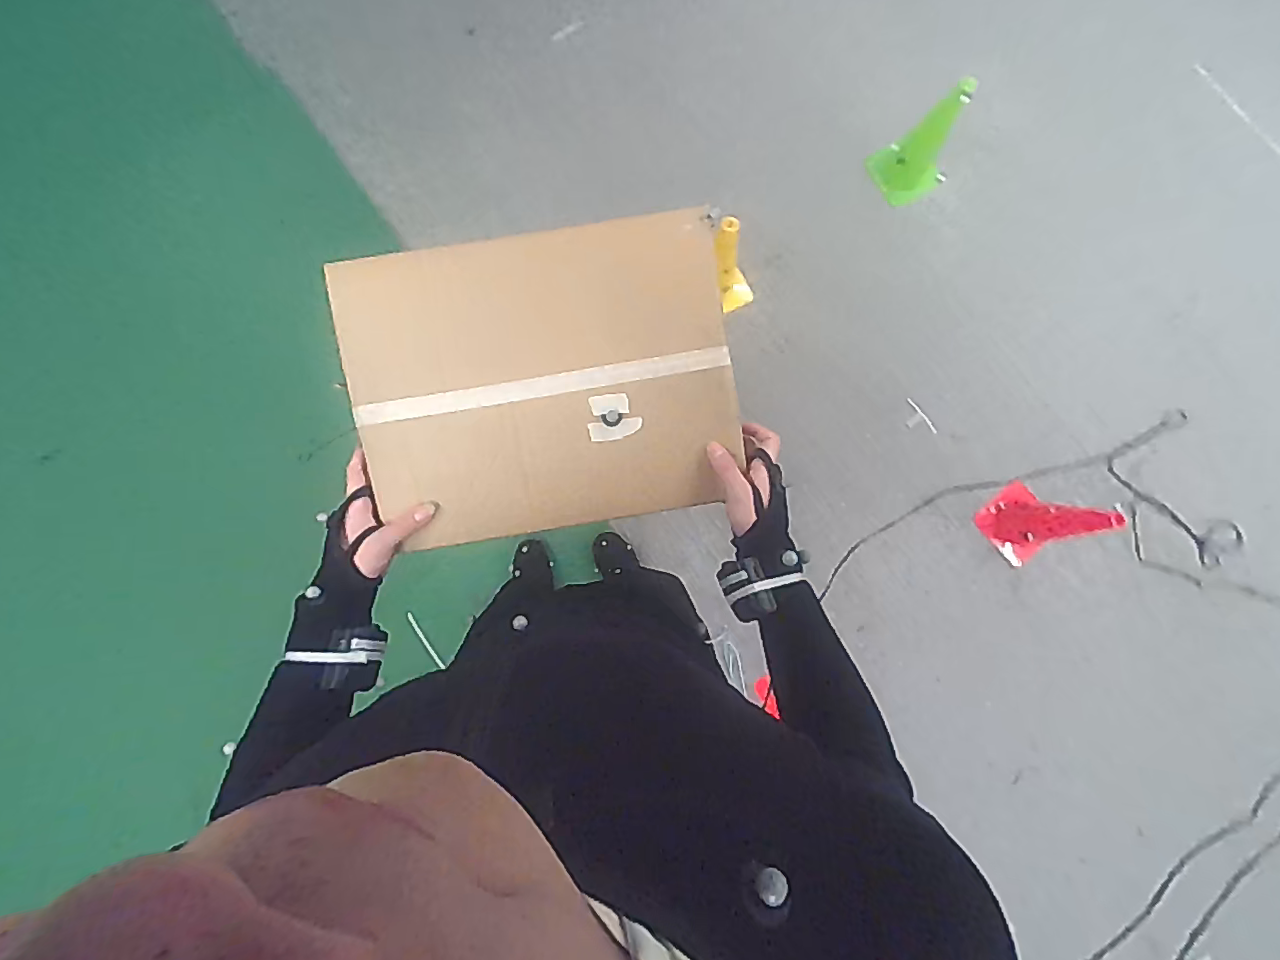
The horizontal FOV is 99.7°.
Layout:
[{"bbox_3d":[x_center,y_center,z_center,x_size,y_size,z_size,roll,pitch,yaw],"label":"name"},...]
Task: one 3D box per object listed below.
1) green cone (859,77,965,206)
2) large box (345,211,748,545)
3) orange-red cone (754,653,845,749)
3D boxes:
[{"bbox_3d":[0.850,-1.043,1.613,0.202,0.368,0.200,-31,85,-2],"label":"green cone"},{"bbox_3d":[-0.102,-0.123,0.736,0.408,0.320,0.320,-8,97,-2],"label":"large box"},{"bbox_3d":[0.463,0.626,1.438,0.198,0.360,0.199,-29,87,-2],"label":"orange-red cone"}]
